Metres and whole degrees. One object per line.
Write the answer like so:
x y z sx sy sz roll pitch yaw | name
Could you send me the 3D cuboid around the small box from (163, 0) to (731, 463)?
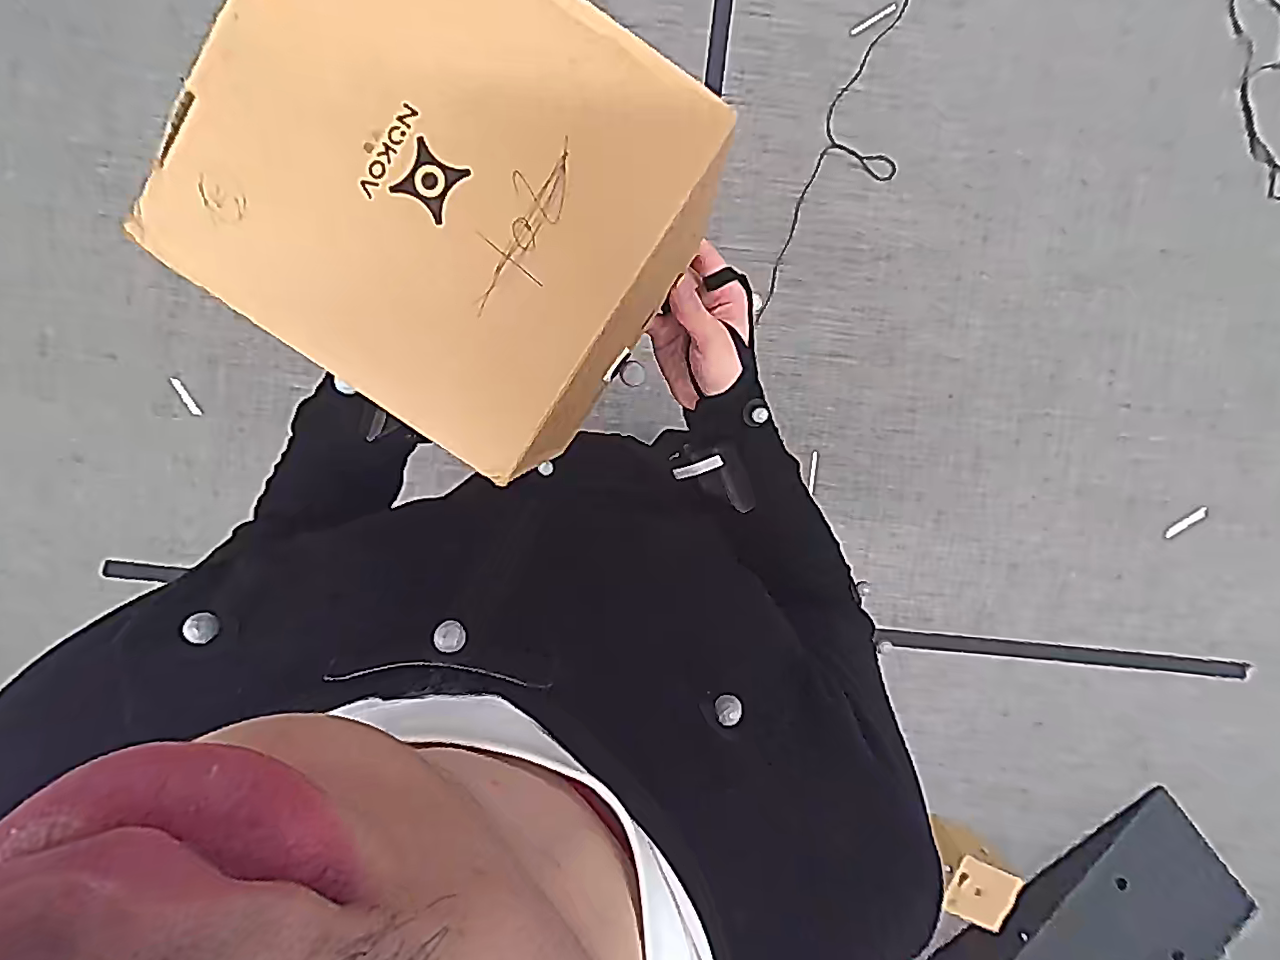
-0.077 -0.127 0.293 0.179 0.176 0.168 33 98 -3 | small box
